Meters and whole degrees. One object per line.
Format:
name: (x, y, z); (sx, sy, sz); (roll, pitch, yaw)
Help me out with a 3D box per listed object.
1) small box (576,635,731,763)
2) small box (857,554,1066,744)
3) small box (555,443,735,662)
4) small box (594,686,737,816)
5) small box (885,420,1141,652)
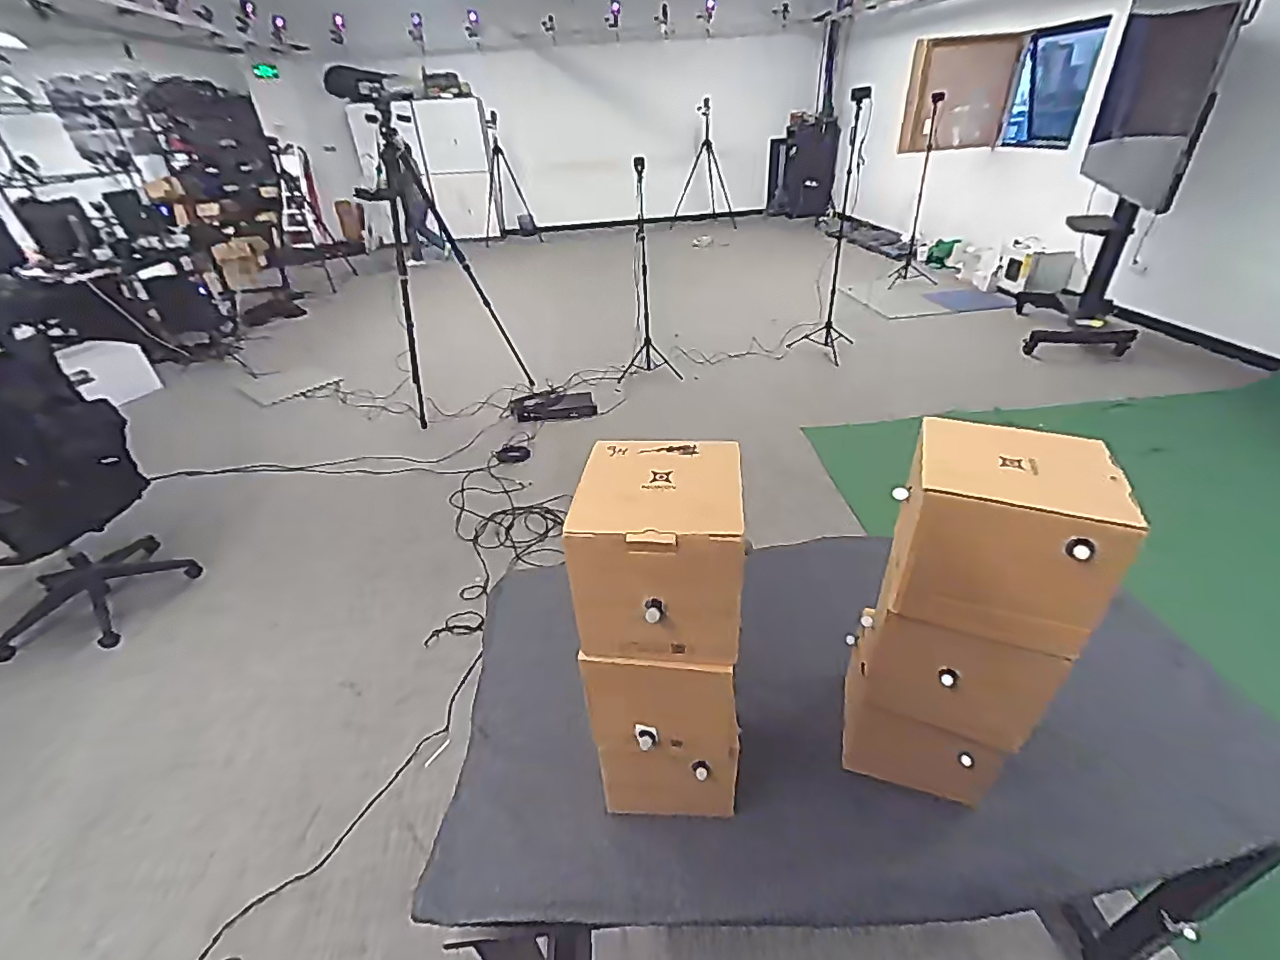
small box: (0.028, 0.215, 0.672); (0.168, 0.176, 0.179); (1, 34, 9)
small box: (0.384, 0.191, 0.670); (0.179, 0.176, 0.168); (13, 36, 23)
small box: (0.020, 0.075, 0.588); (0.168, 0.176, 0.179); (1, 34, 8)
small box: (0.038, 0.349, 0.764); (0.179, 0.176, 0.168); (-1, 33, 4)
small box: (0.373, 0.055, 0.581); (0.179, 0.176, 0.168); (12, 36, 21)
